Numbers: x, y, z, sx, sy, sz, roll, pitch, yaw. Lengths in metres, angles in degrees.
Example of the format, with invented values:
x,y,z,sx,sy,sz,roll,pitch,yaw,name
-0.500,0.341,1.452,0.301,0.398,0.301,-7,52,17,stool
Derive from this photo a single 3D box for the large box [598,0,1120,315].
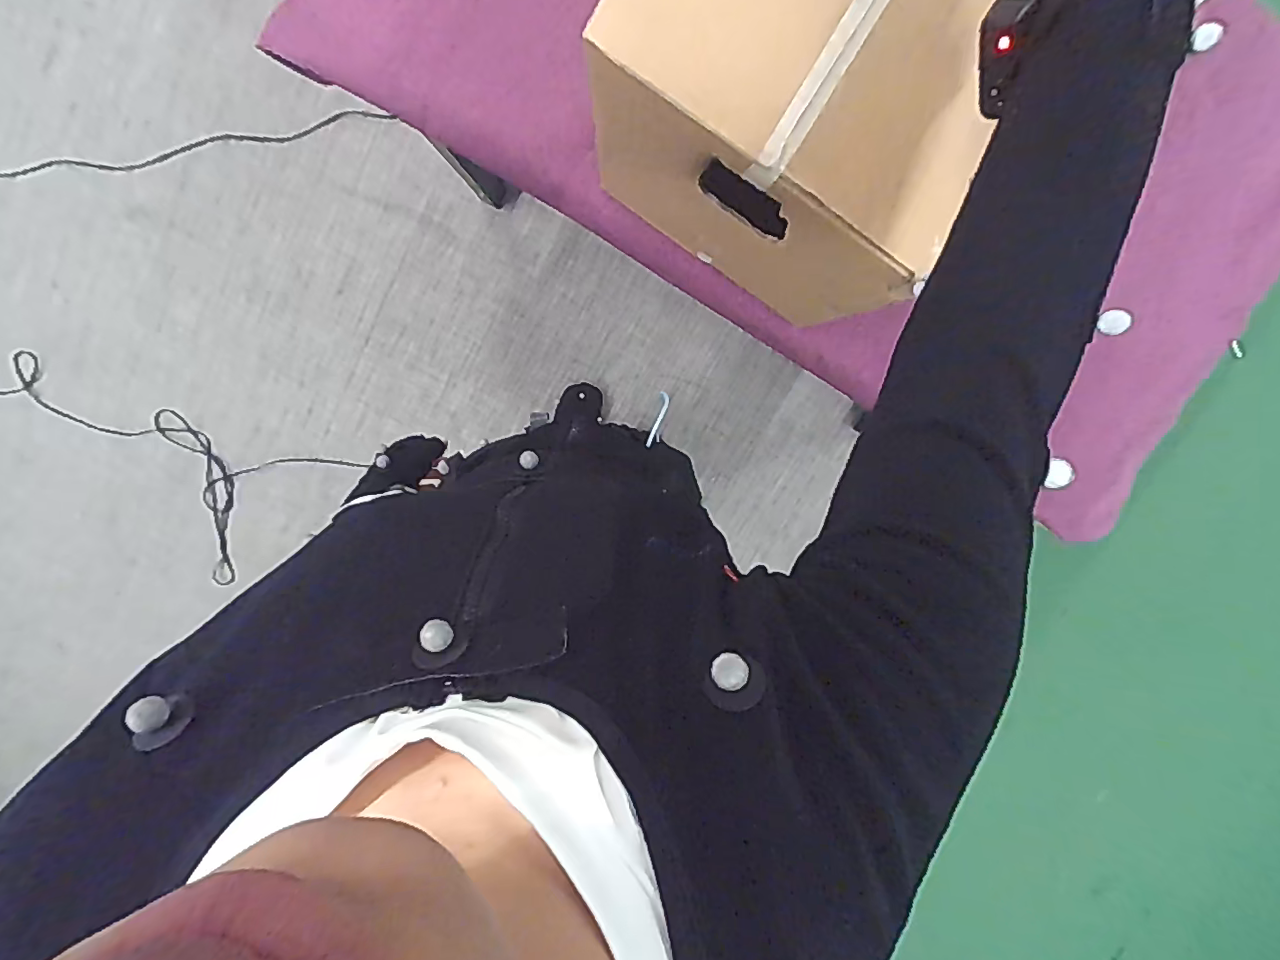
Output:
x,y,z,sx,sy,sz,roll,pitch,yaw,name
0.194,-0.426,0.525,0.320,0.320,0.408,32,99,-7,large box
